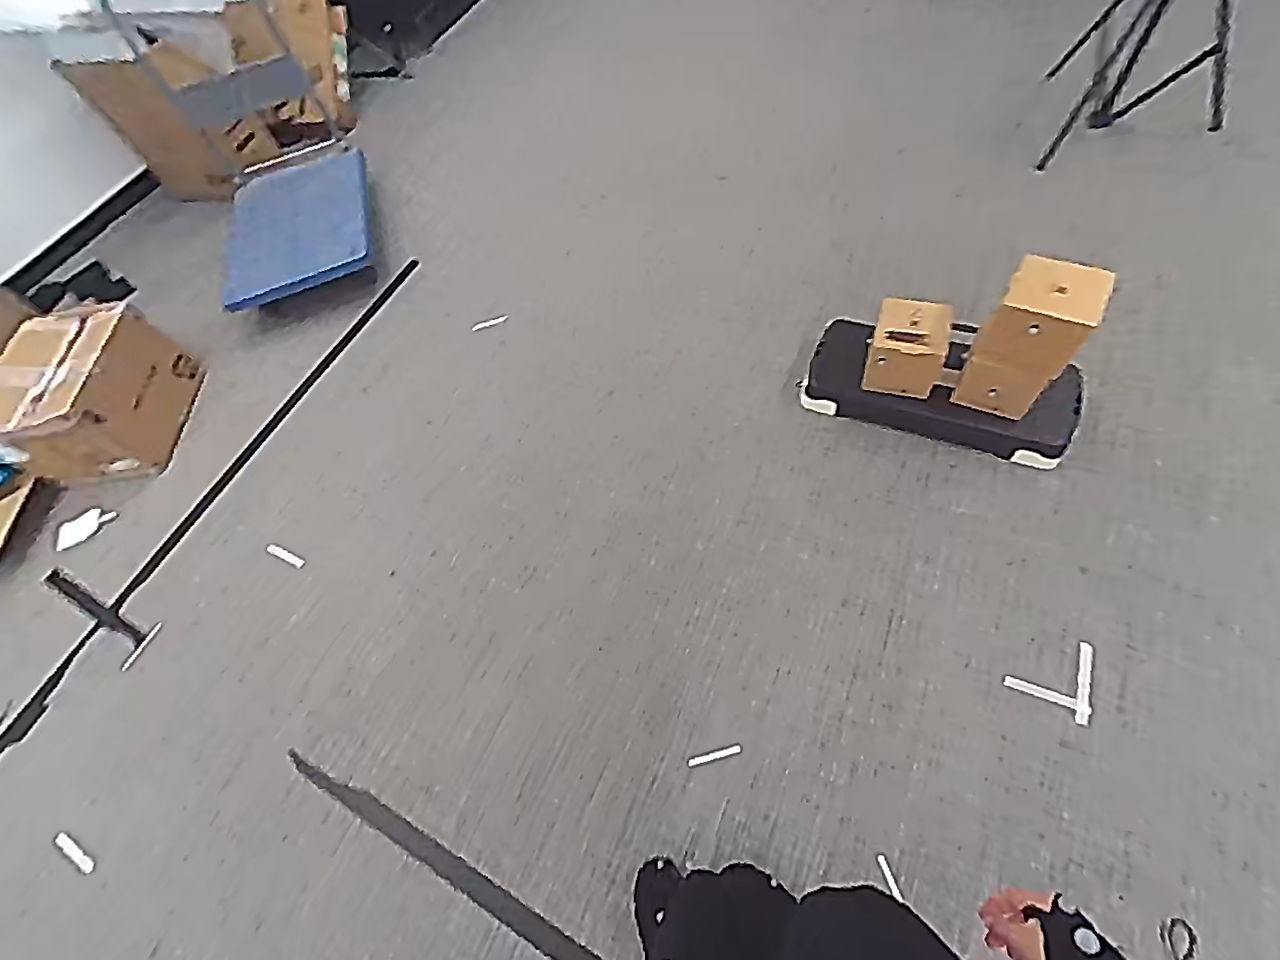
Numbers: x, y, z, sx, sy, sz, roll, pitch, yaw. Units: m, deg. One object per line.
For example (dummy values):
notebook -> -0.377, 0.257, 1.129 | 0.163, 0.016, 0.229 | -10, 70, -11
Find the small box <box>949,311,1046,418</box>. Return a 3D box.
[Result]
small box -> 0.893, -0.281, 1.342 | 0.168, 0.176, 0.179 | 22, 67, 21

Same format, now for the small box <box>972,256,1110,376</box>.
small box -> 0.877, -0.356, 1.198 | 0.179, 0.176, 0.168 | 25, 69, 23
